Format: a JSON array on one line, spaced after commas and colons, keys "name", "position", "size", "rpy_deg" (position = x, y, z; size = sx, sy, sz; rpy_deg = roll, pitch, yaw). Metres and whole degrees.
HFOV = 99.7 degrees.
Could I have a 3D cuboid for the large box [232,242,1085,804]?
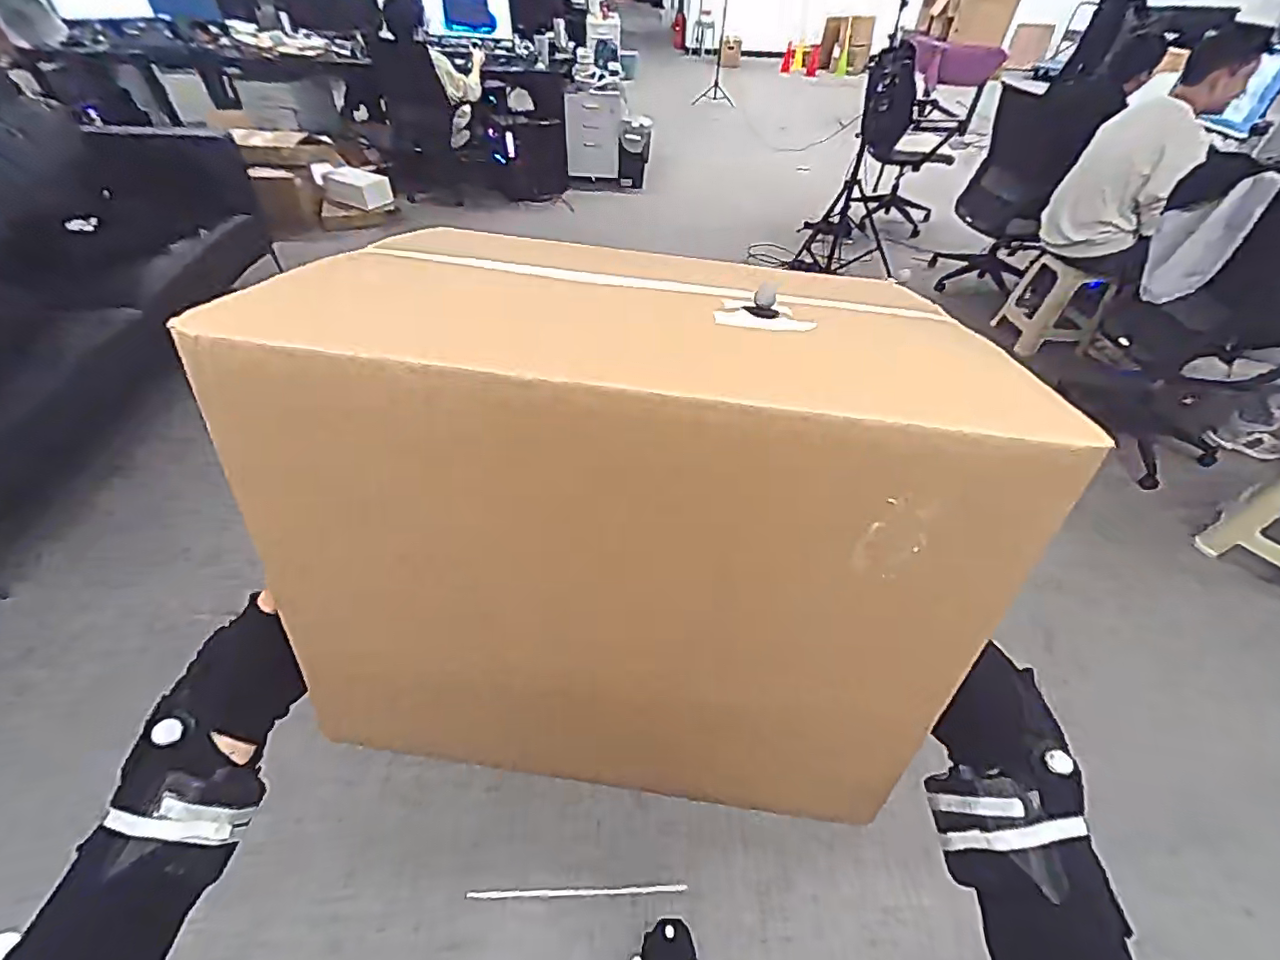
[{"name": "large box", "position": [0.002, 0.011, 0.448], "size": [0.408, 0.320, 0.320], "rpy_deg": [8, 33, 2]}]
